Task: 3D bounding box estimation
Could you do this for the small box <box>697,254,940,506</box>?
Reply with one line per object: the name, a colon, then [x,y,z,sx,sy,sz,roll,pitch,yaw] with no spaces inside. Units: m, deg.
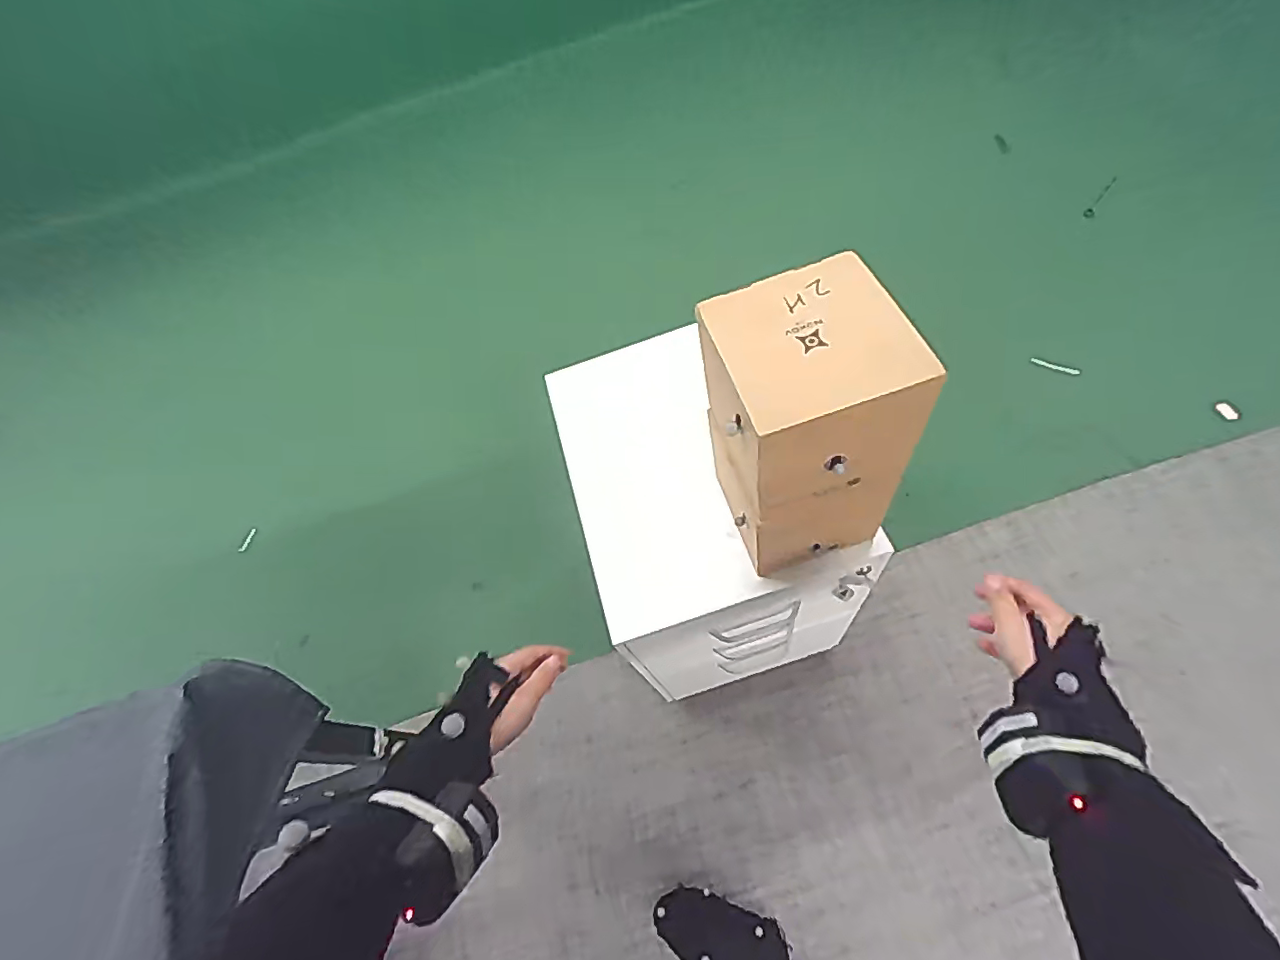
small box: [0.168,-0.090,0.560,0.168,0.176,0.179,-18,59,1]
